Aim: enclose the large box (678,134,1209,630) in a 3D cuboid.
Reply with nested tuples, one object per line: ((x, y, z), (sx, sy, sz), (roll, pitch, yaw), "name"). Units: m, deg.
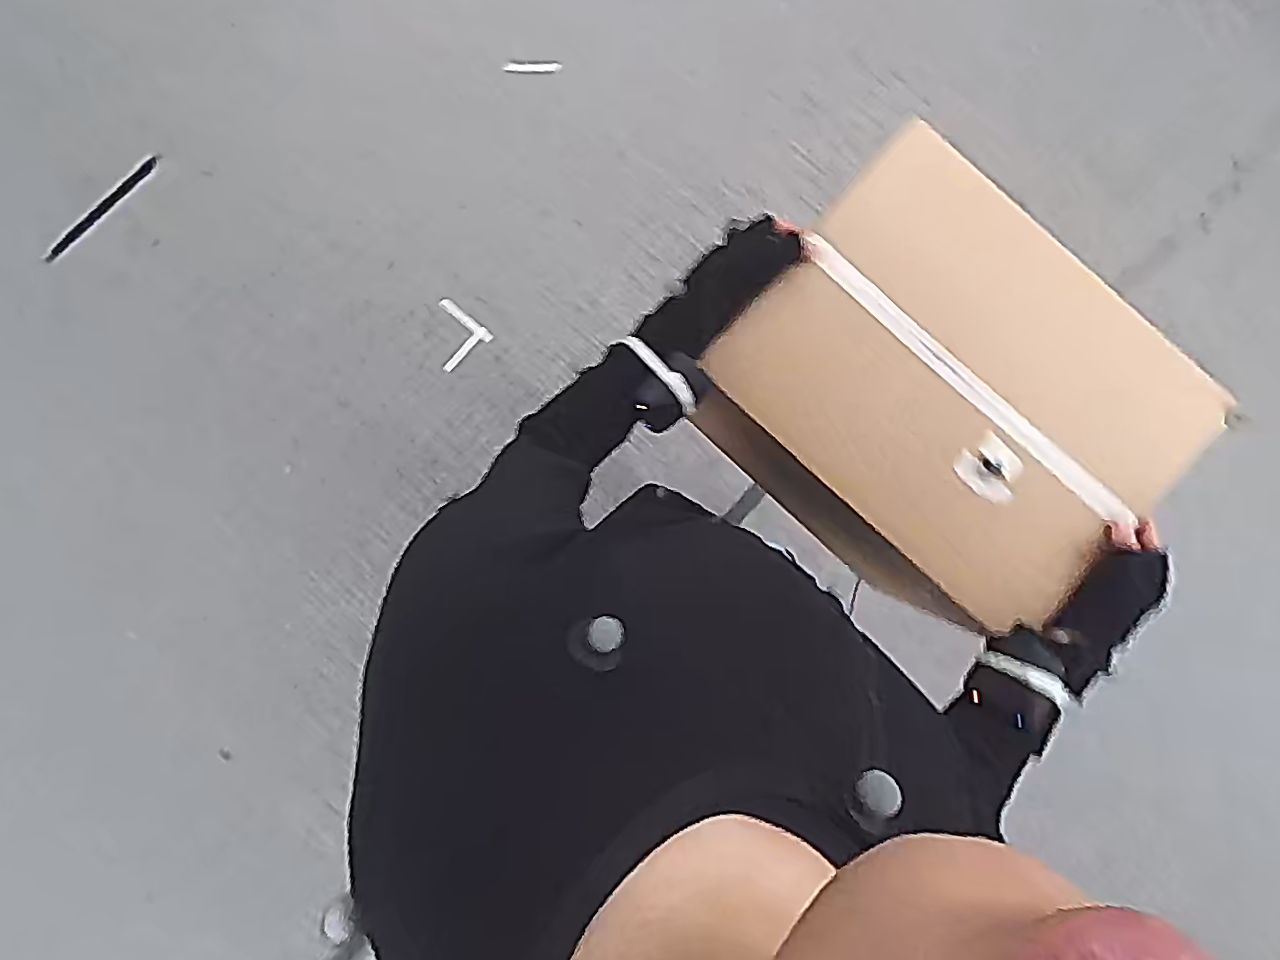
((0.303, -0.095, 0.669), (0.408, 0.320, 0.320), (42, 91, -1), "large box")
